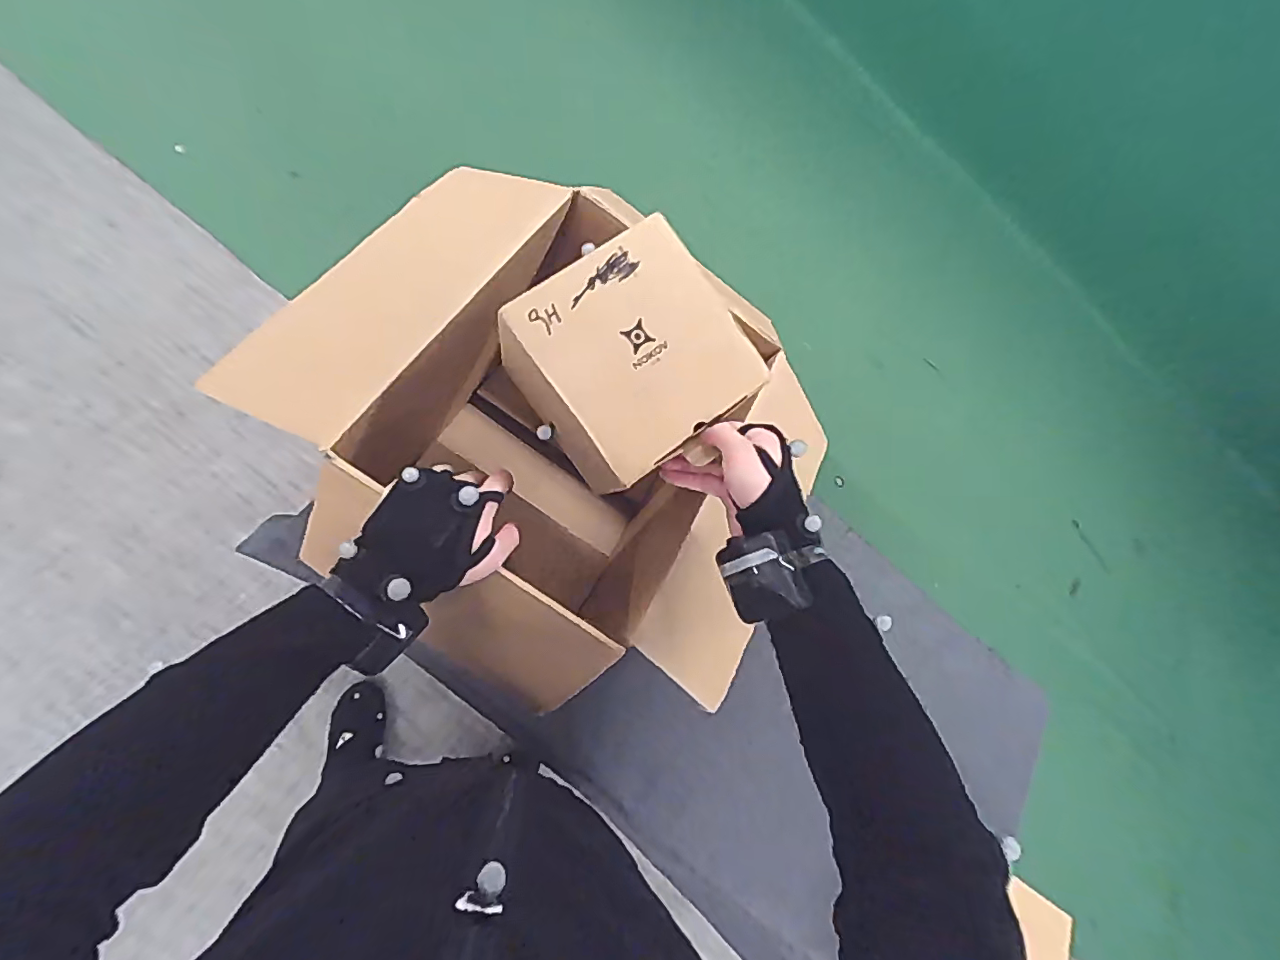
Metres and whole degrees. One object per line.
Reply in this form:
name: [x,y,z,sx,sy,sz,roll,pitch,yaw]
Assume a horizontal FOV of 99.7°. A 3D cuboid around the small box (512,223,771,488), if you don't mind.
small box: [-0.008,-0.106,0.542,0.168,0.176,0.179,-37,94,-12]
